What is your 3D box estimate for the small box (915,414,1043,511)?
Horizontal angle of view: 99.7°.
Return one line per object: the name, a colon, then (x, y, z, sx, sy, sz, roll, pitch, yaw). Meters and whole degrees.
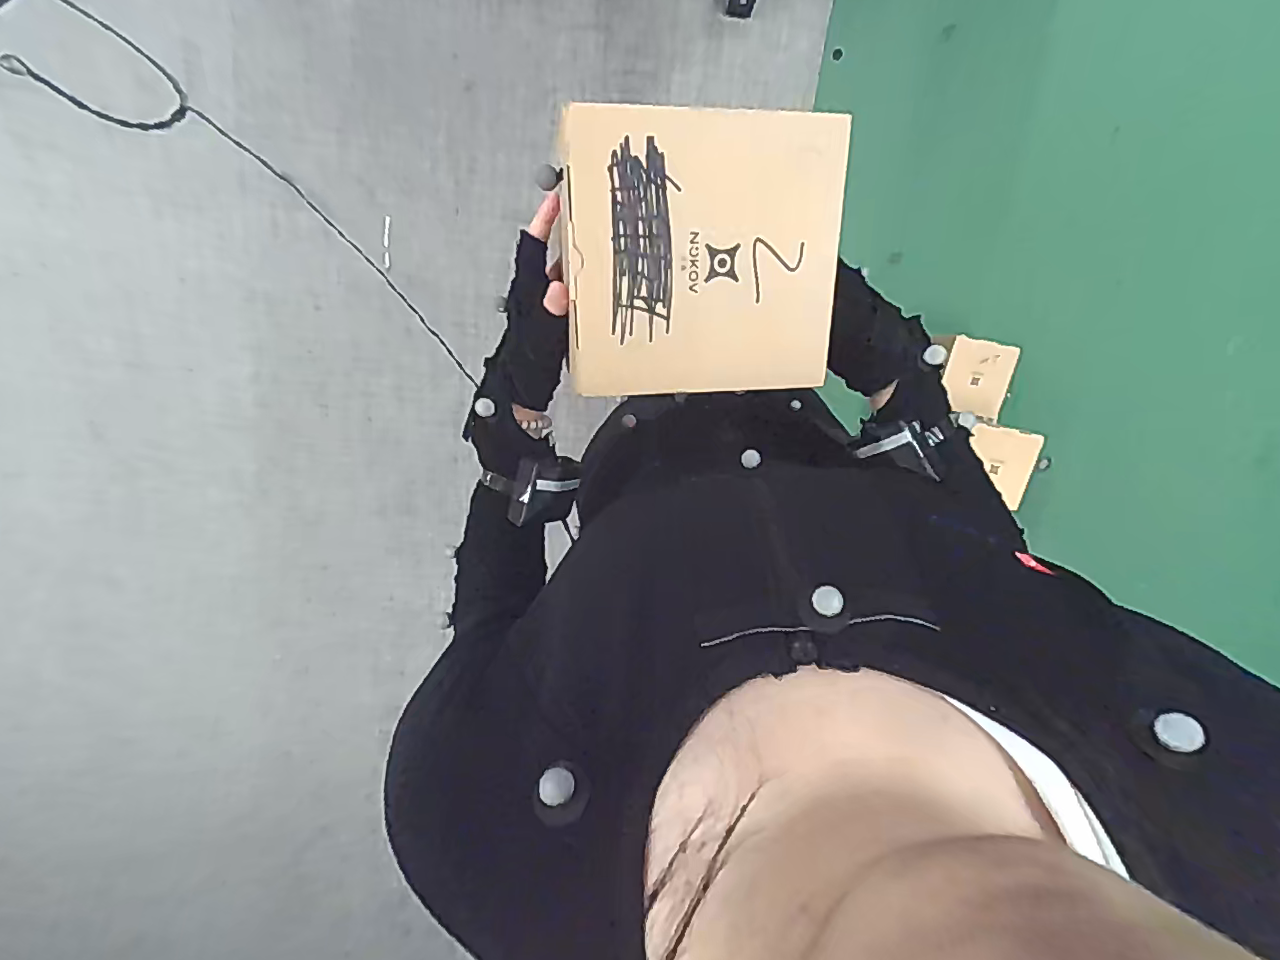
small box: (0.775, -0.046, 1.261, 0.168, 0.176, 0.179, 12, 103, -3)
